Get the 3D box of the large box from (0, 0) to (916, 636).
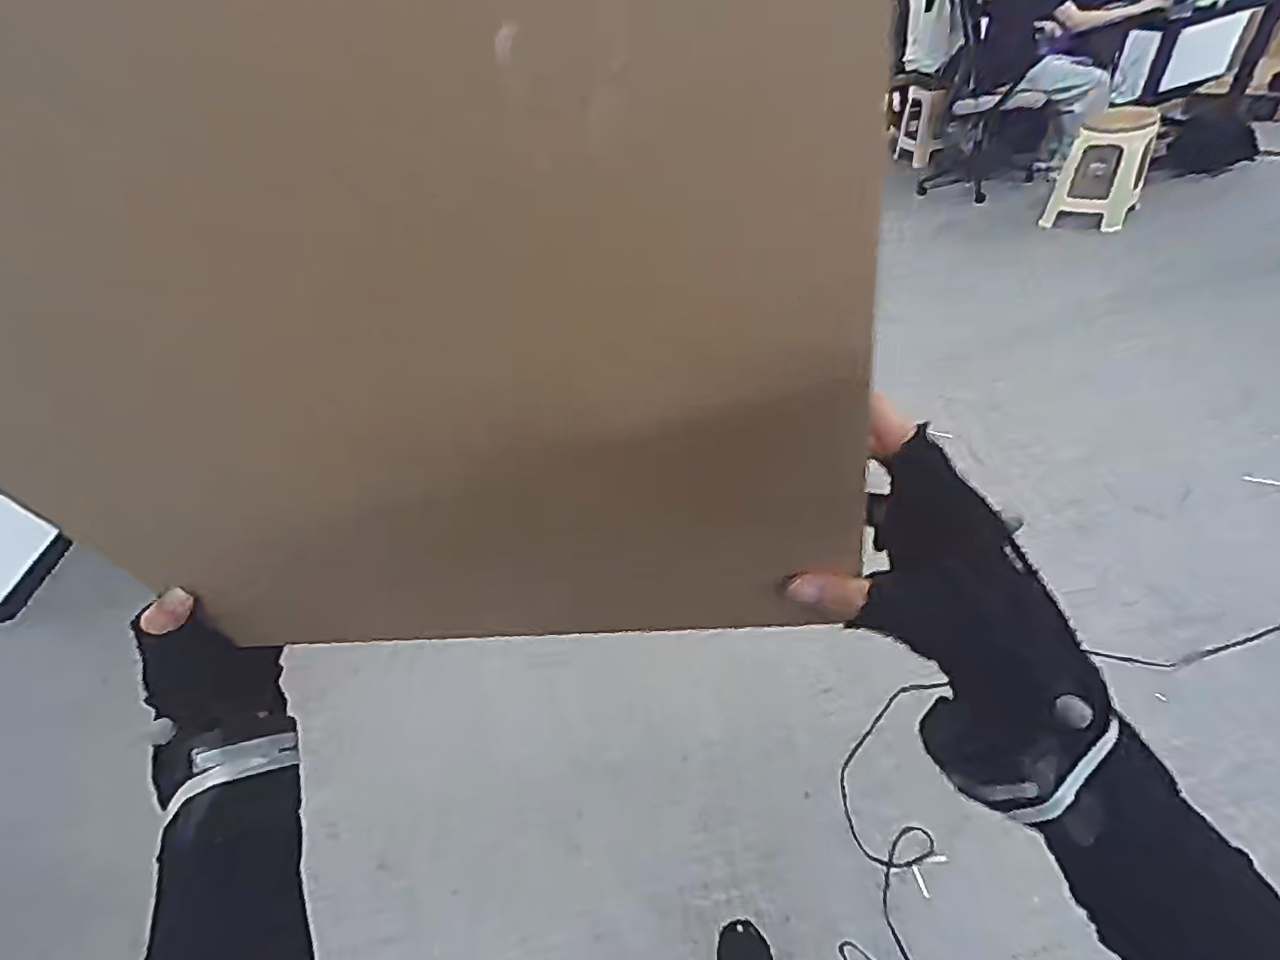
[{"bbox_3d":[-0.097,-0.122,0.331,0.408,0.320,0.320,-5,45,13],"label":"large box"}]
